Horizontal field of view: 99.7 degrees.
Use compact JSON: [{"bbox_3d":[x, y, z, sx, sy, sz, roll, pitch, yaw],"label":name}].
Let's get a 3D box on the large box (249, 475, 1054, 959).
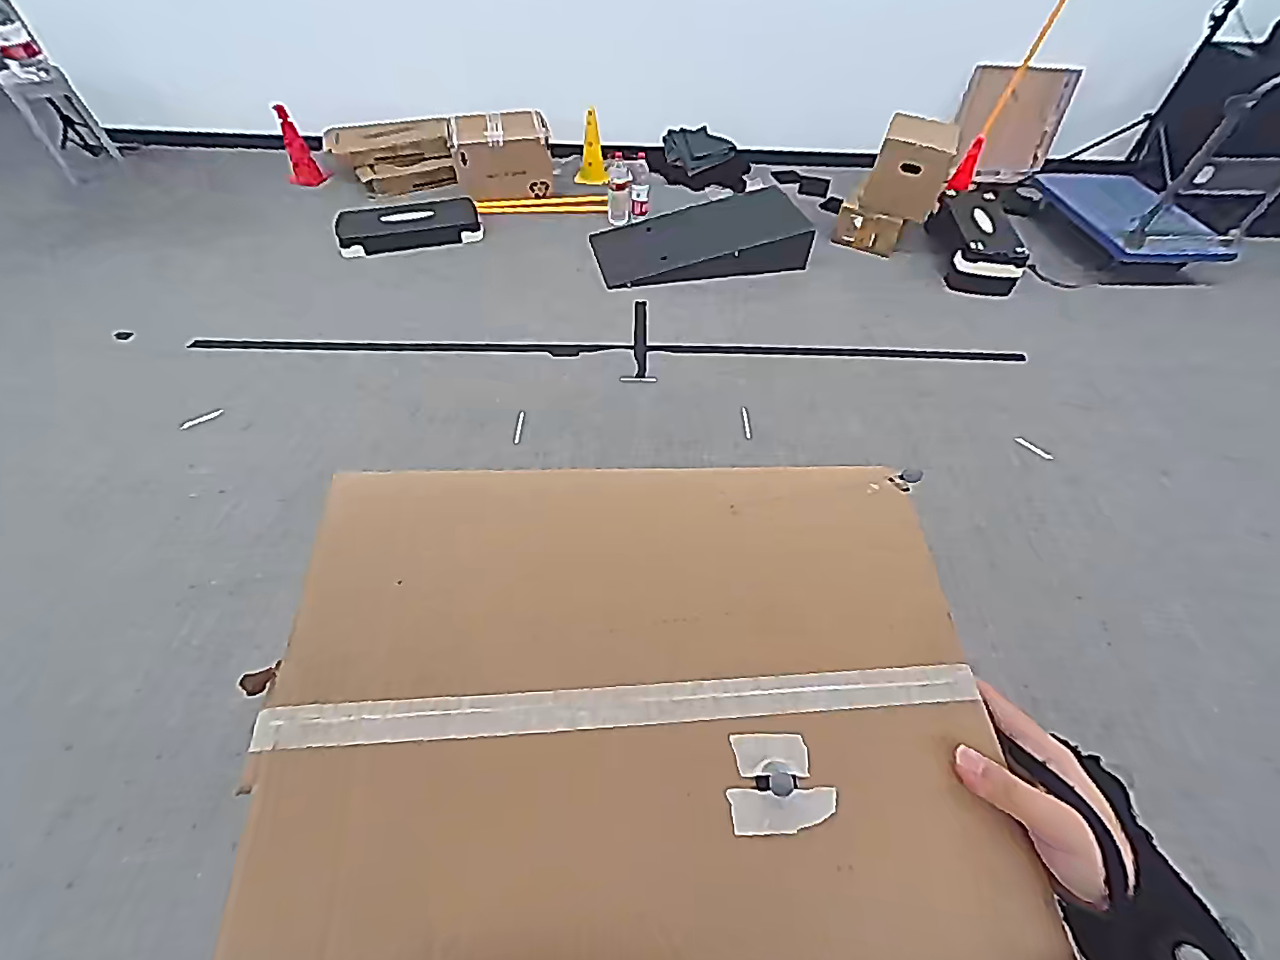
[{"bbox_3d":[-0.009,0.207,0.451,0.408,0.320,0.320,-1,61,-8],"label":"large box"}]
